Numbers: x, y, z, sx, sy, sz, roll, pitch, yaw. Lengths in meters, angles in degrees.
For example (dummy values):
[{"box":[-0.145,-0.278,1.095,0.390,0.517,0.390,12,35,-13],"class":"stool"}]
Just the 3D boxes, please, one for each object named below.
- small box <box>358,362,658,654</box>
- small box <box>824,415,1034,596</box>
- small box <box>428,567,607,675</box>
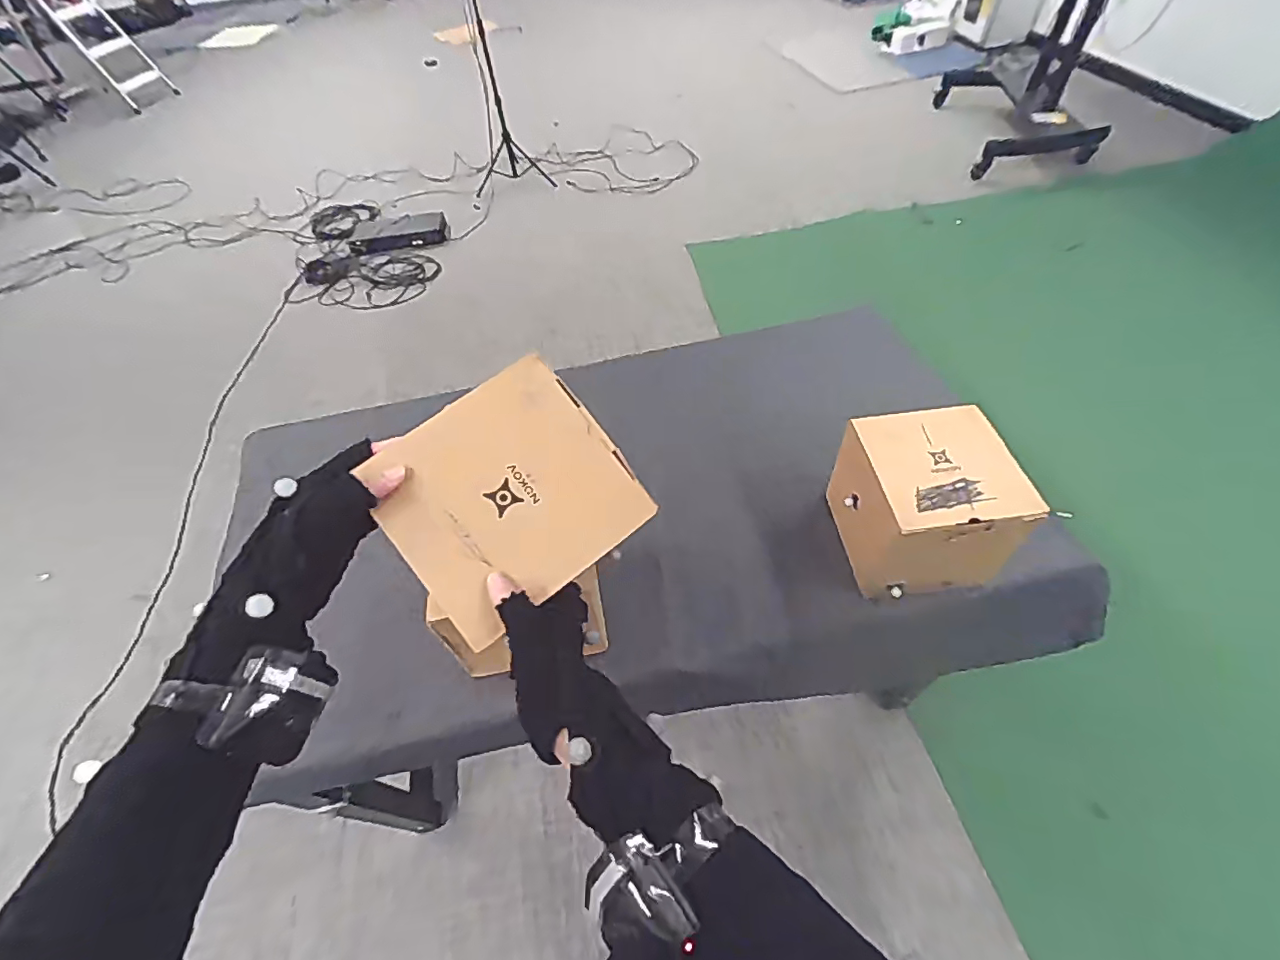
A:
[{"box":[-0.110,0.027,0.500,0.179,0.176,0.168,-39,88,-11],"class":"small box"},{"box":[0.360,0.041,0.715,0.168,0.176,0.179,-6,50,0],"class":"small box"},{"box":[-0.147,0.129,0.688,0.179,0.176,0.168,-11,50,-4],"class":"small box"}]
